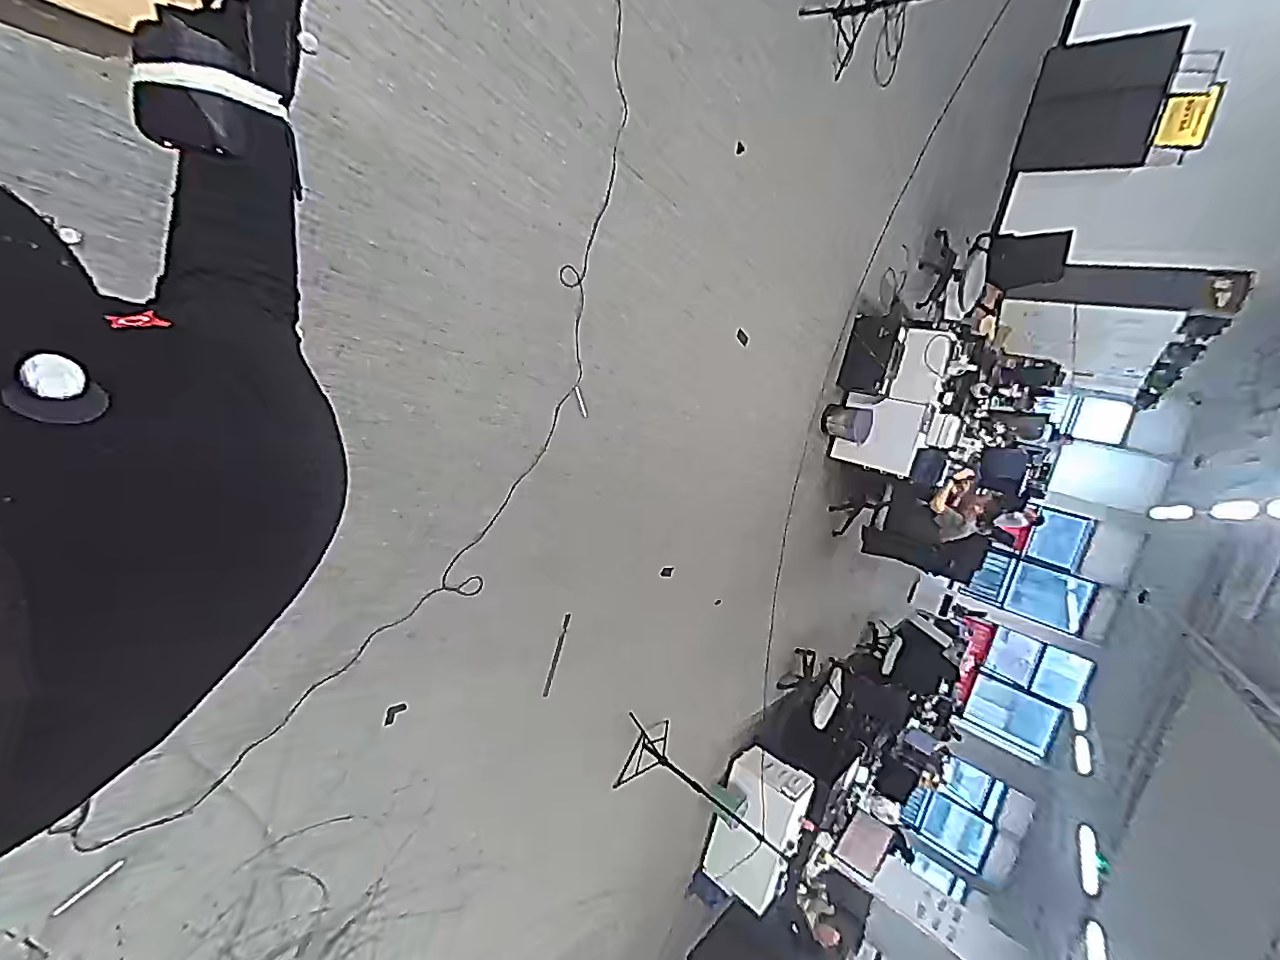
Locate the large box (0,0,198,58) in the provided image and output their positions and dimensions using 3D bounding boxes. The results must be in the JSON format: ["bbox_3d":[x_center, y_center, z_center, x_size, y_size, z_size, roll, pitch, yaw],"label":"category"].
[{"bbox_3d":[-0.498,-0.456,0.238,0.408,0.320,0.320,-12,125,-51],"label":"large box"}]
